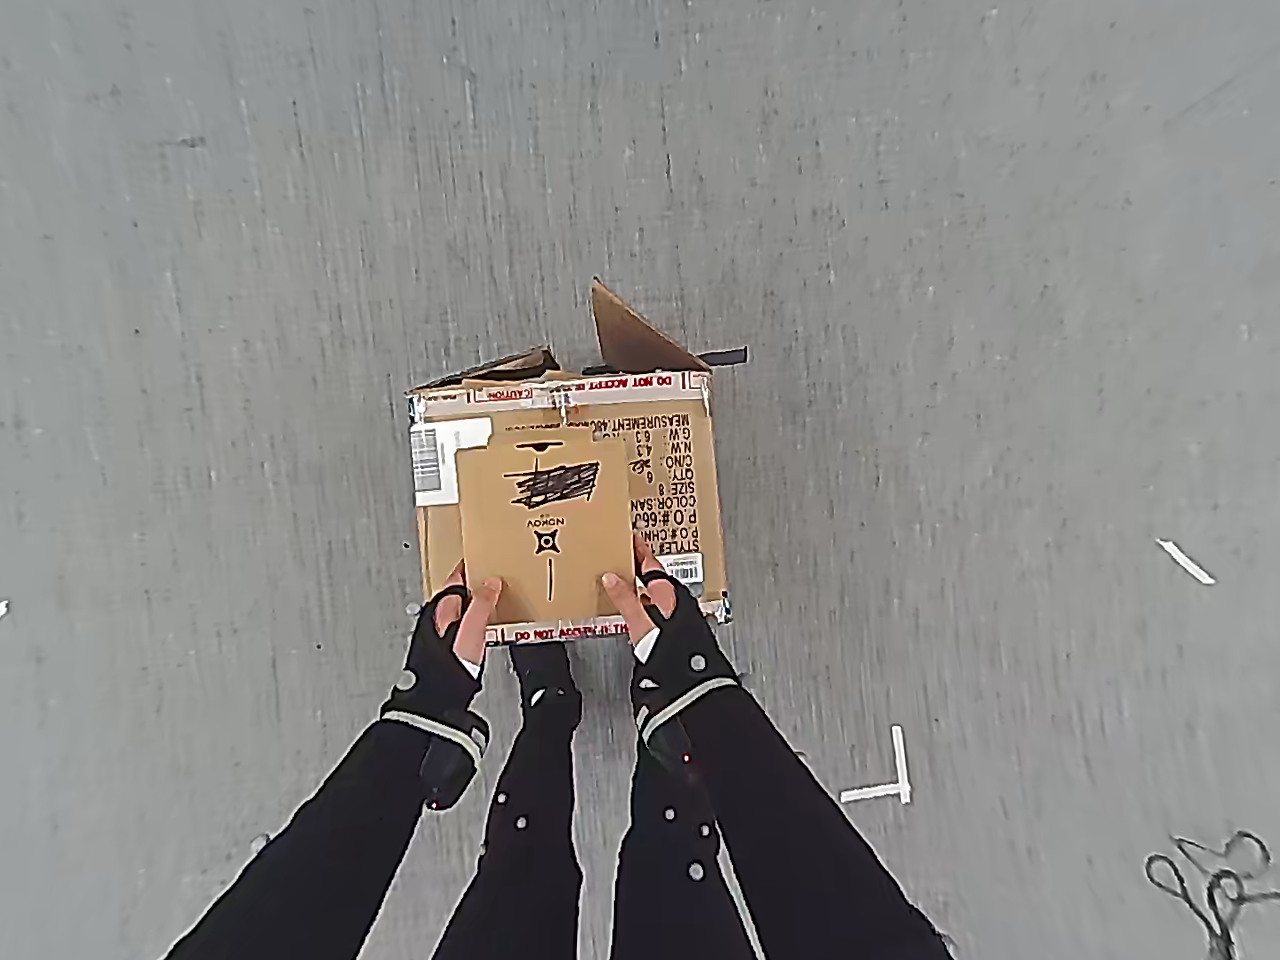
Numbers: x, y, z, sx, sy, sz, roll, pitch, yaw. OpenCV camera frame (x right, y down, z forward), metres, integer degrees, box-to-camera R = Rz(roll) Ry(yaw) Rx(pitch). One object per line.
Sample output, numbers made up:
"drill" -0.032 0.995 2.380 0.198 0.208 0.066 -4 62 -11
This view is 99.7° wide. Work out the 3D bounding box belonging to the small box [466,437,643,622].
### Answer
"small box" -0.087 0.046 0.609 0.168 0.176 0.179 -4 93 -1
